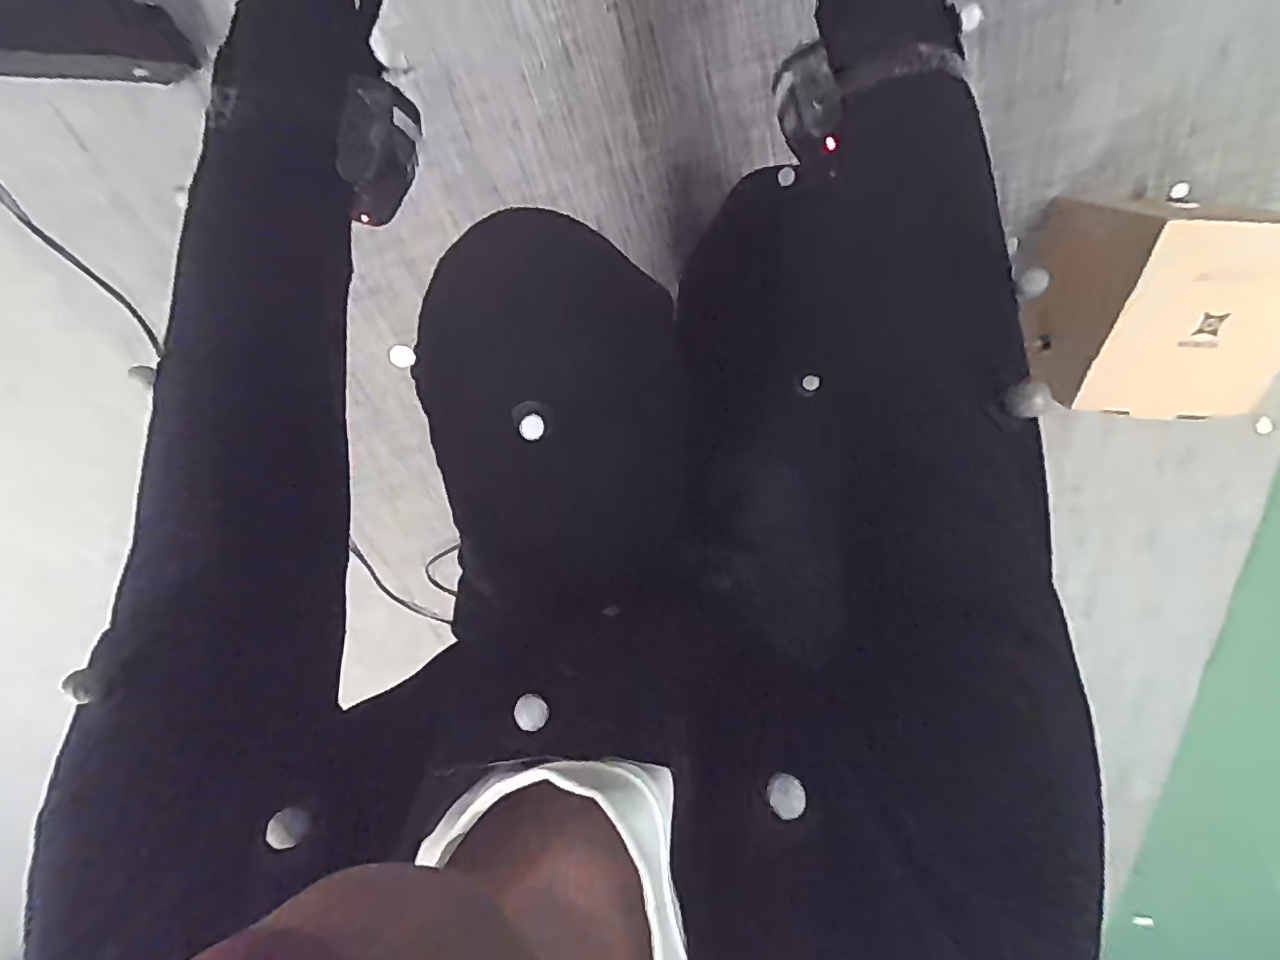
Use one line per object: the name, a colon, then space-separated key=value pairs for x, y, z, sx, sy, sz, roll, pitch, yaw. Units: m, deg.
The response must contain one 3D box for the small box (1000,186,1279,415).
small box: x=0.507 y=-0.186 z=0.548 sx=0.168 sy=0.176 sz=0.179 roll=4 pitch=124 yaw=3
